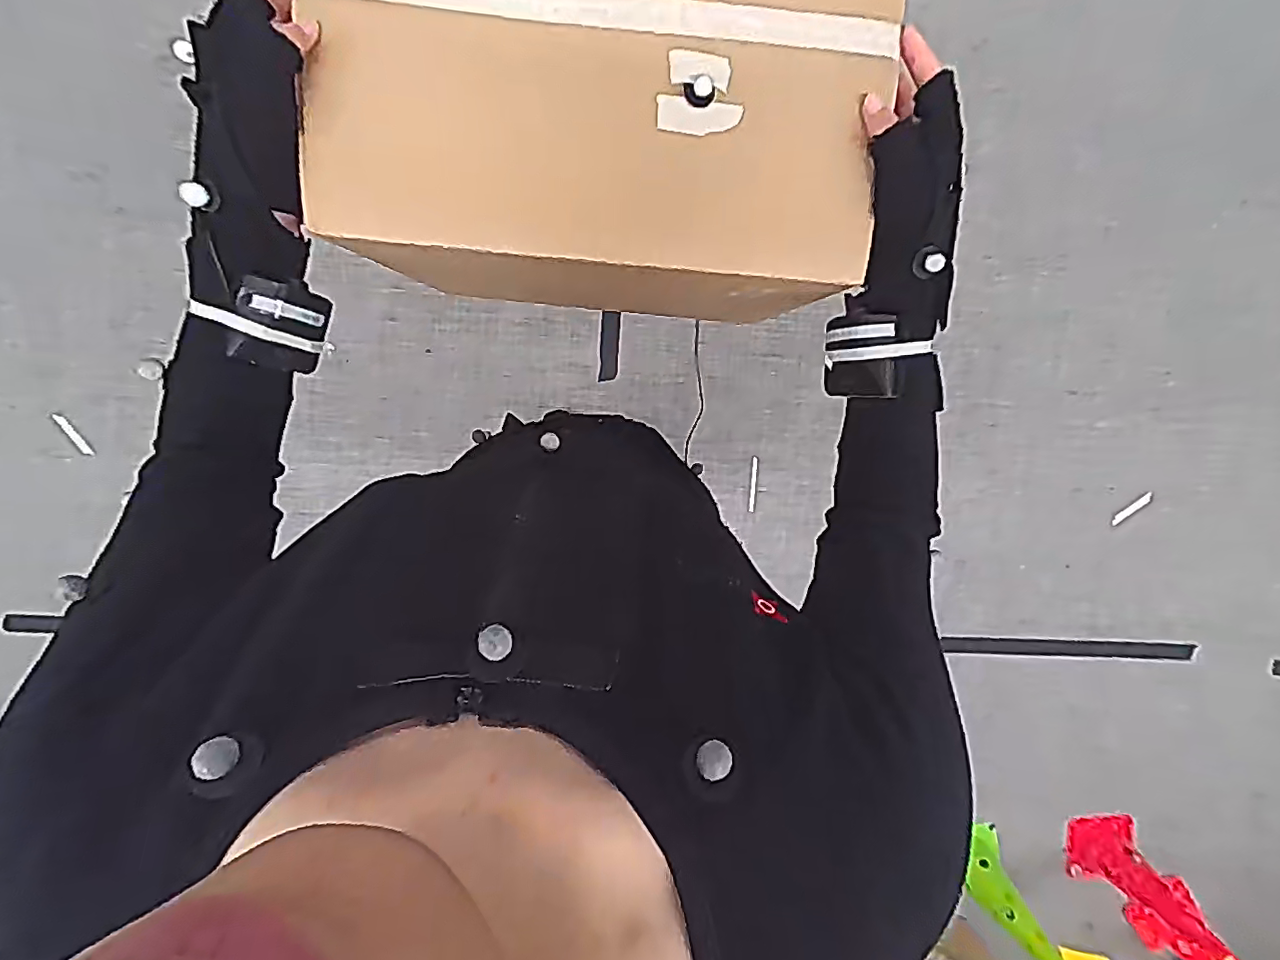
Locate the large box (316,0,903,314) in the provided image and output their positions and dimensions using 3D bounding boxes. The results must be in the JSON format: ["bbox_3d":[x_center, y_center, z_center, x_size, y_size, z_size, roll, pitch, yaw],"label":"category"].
[{"bbox_3d":[-0.026,-0.345,0.515,0.408,0.320,0.320,4,102,-4],"label":"large box"}]
